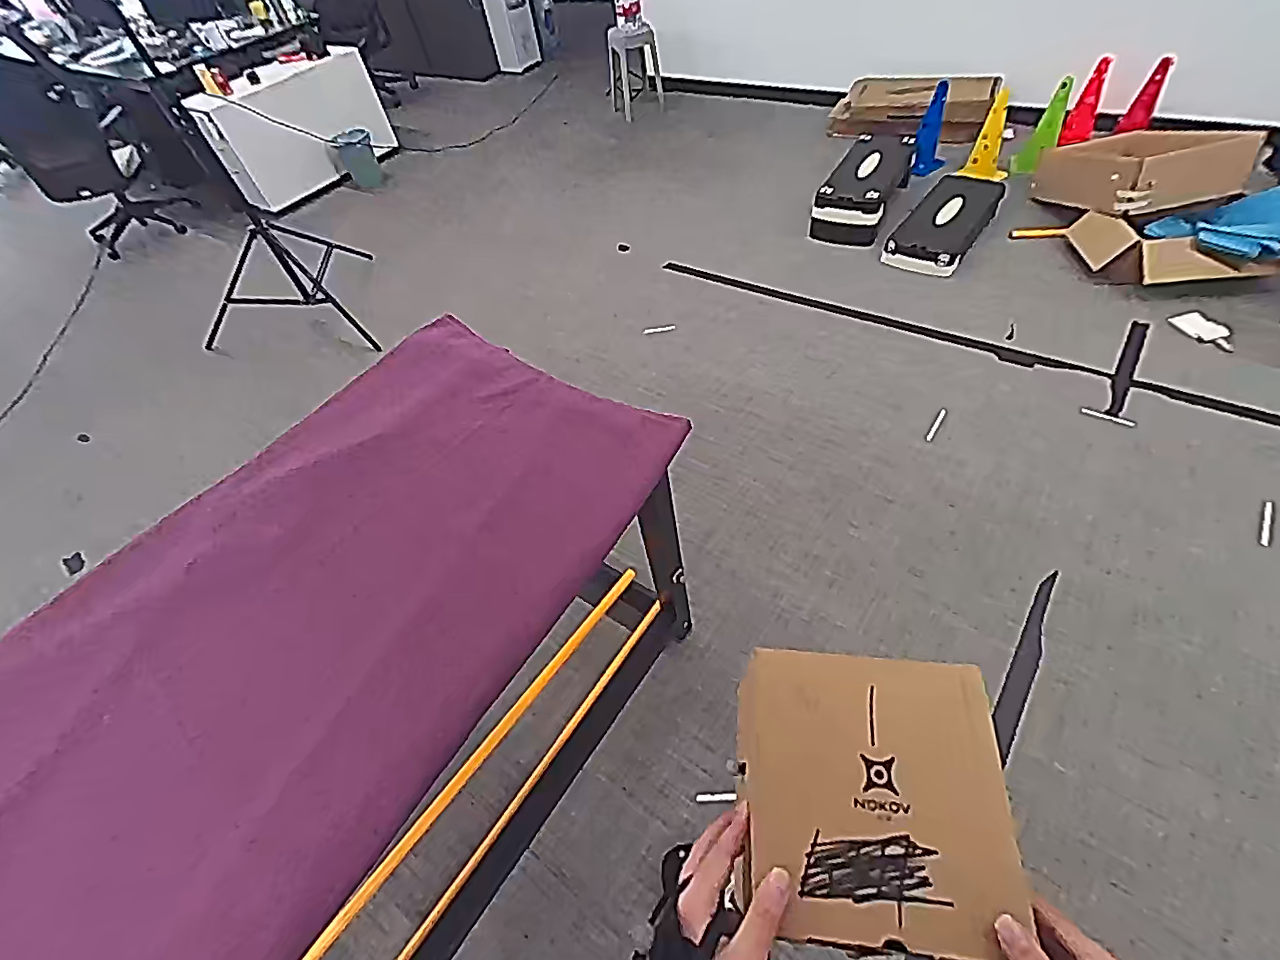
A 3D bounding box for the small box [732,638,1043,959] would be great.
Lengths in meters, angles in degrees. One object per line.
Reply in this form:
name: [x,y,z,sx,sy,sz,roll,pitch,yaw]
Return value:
small box: [0.163,0.240,0.423,0.168,0.176,0.179,4,58,7]
